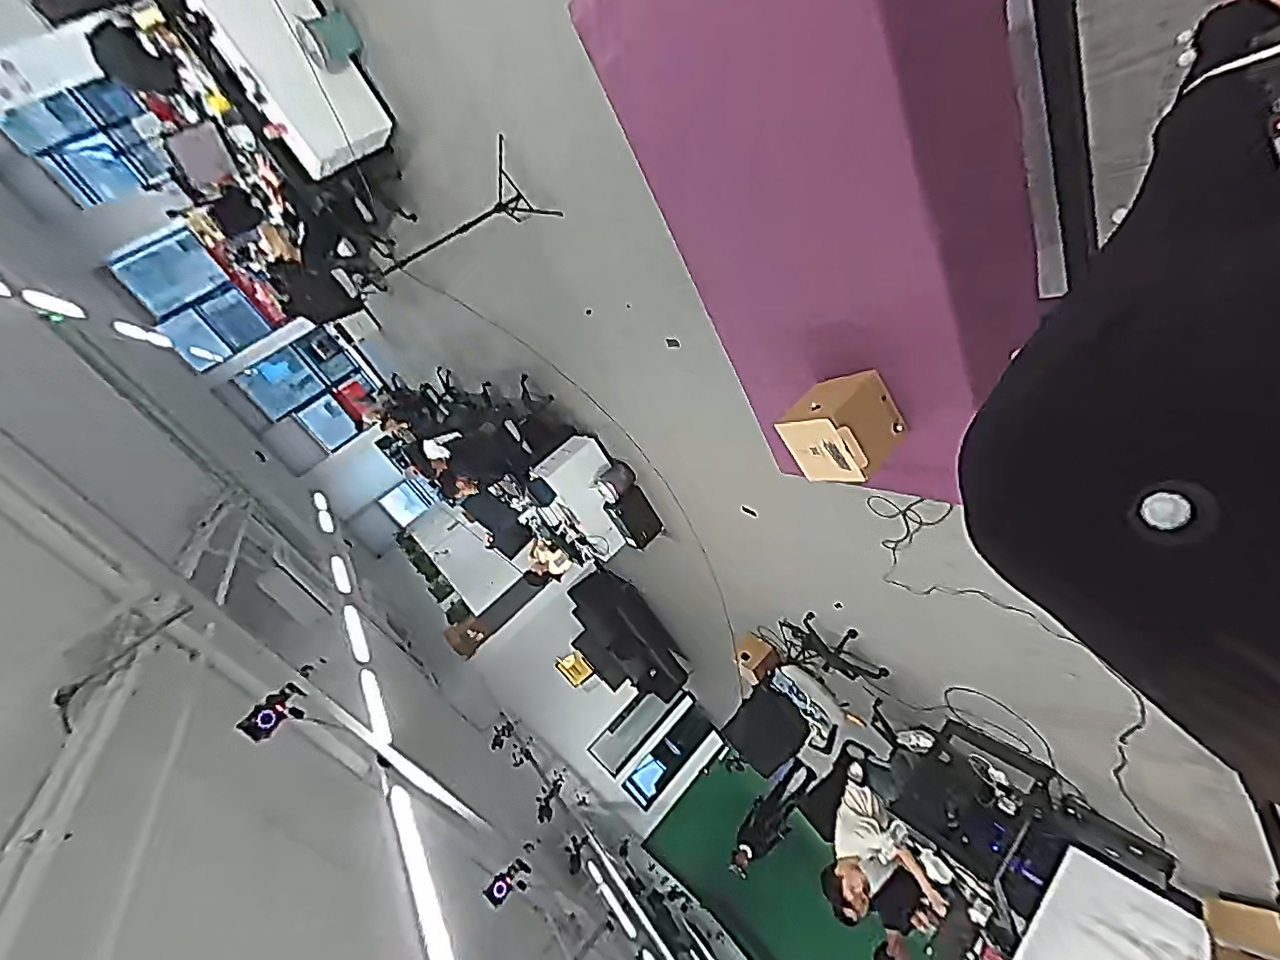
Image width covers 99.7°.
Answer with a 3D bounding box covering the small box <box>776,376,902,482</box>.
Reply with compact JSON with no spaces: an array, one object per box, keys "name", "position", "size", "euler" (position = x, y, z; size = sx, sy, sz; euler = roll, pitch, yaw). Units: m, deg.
[{"name":"small box","position":[0.445,-0.111,1.194],"size":[0.168,0.176,0.179],"euler":[54,160,-15]}]
